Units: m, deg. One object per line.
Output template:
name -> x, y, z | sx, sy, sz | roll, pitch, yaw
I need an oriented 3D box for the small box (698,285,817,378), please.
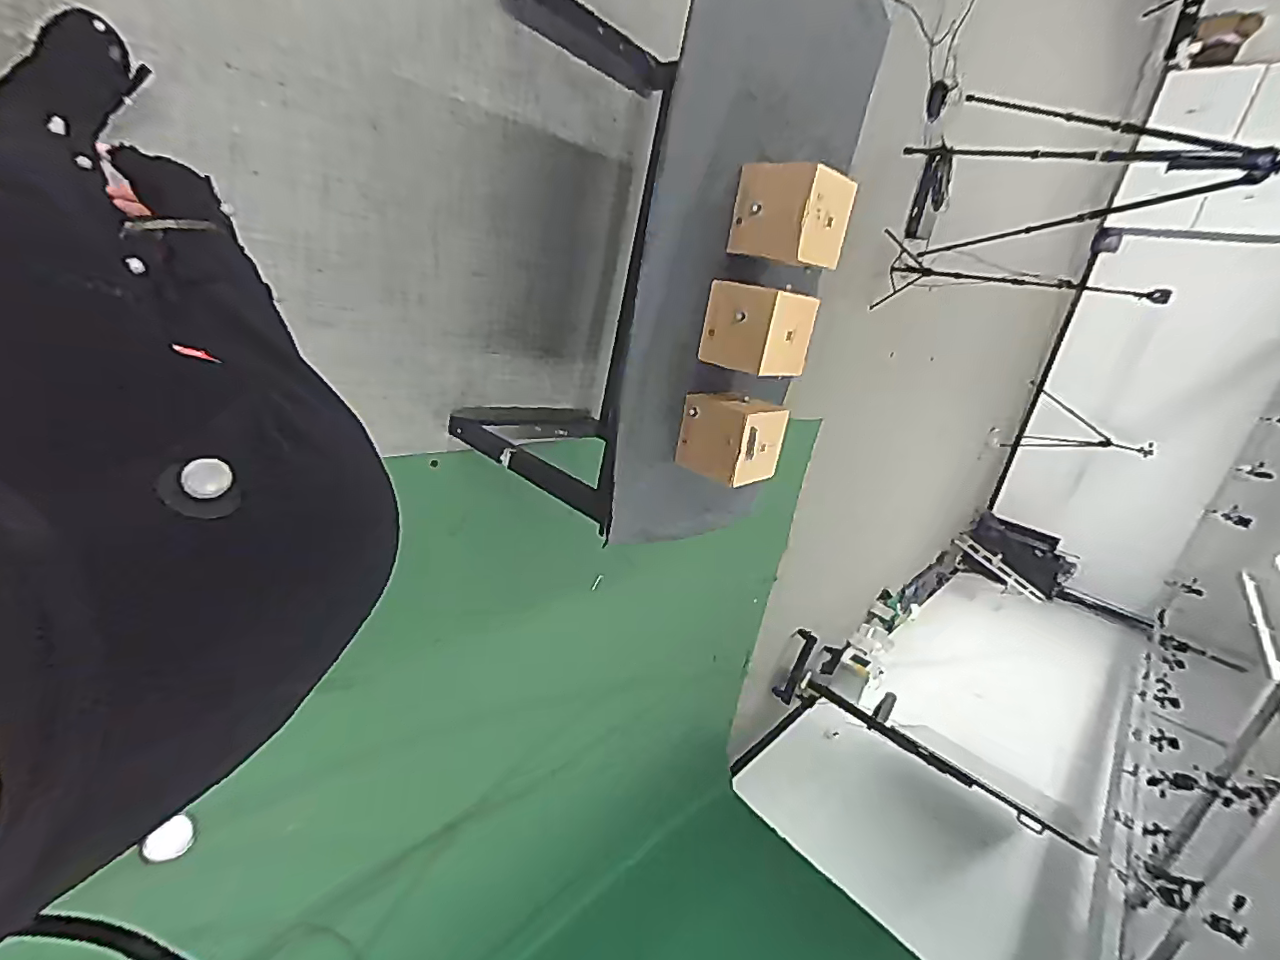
small box -> 0.247, -0.317, 1.161 | 0.179, 0.176, 0.168 | -12, 119, -45

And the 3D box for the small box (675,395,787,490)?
small box -> 0.202, -0.093, 1.234 | 0.179, 0.176, 0.168 | -12, 120, -46

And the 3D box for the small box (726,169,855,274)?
small box -> 0.305, -0.527, 1.104 | 0.179, 0.176, 0.168 | -12, 120, -45
